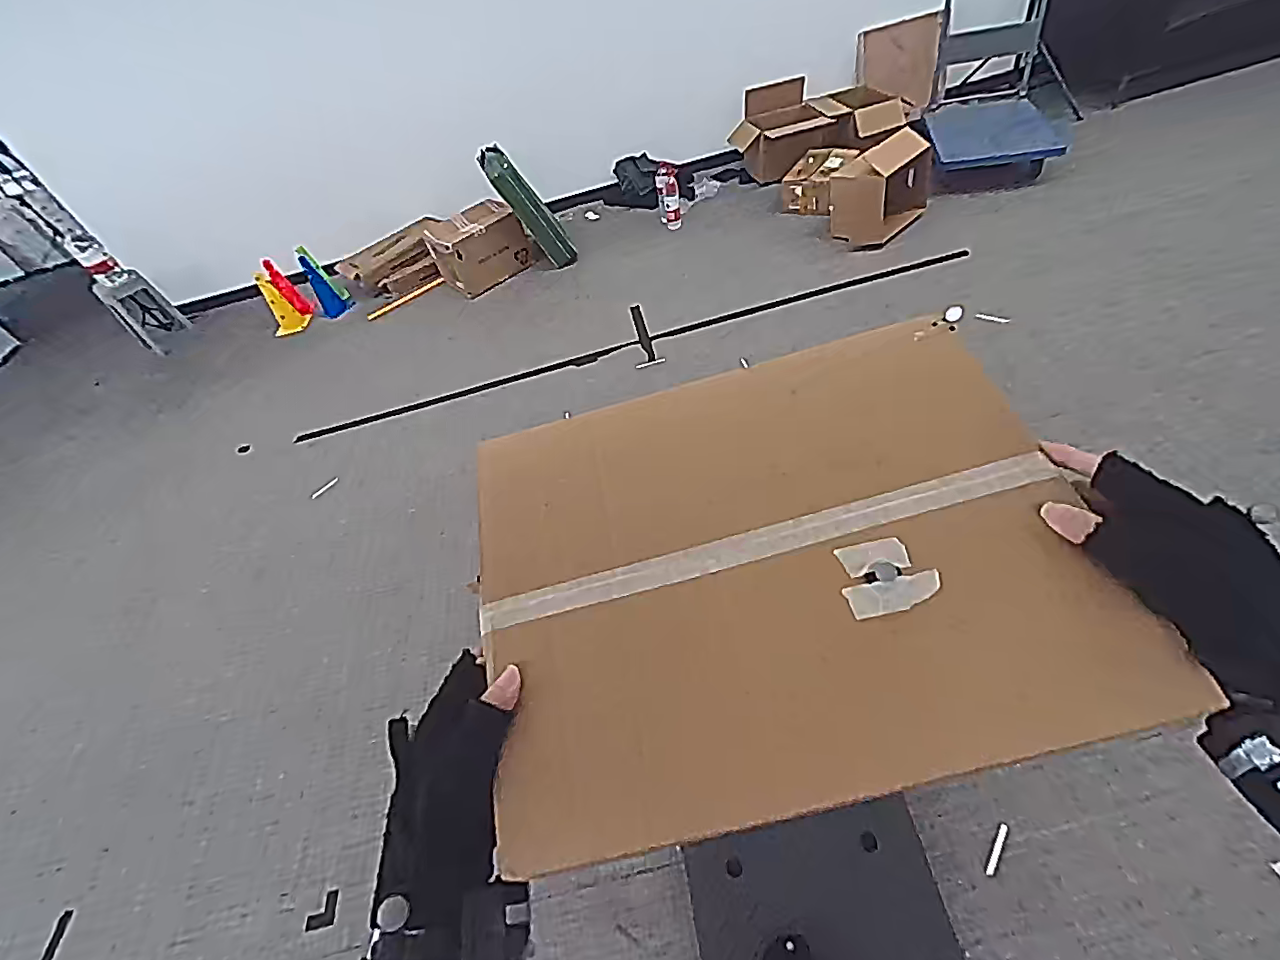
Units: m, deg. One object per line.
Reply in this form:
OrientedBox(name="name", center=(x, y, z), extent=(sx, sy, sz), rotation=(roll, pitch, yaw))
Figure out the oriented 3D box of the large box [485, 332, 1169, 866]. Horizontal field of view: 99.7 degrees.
OrientedBox(name="large box", center=(0.109, 0.126, 0.519), extent=(0.408, 0.320, 0.320), rotation=(-16, 59, 2))
